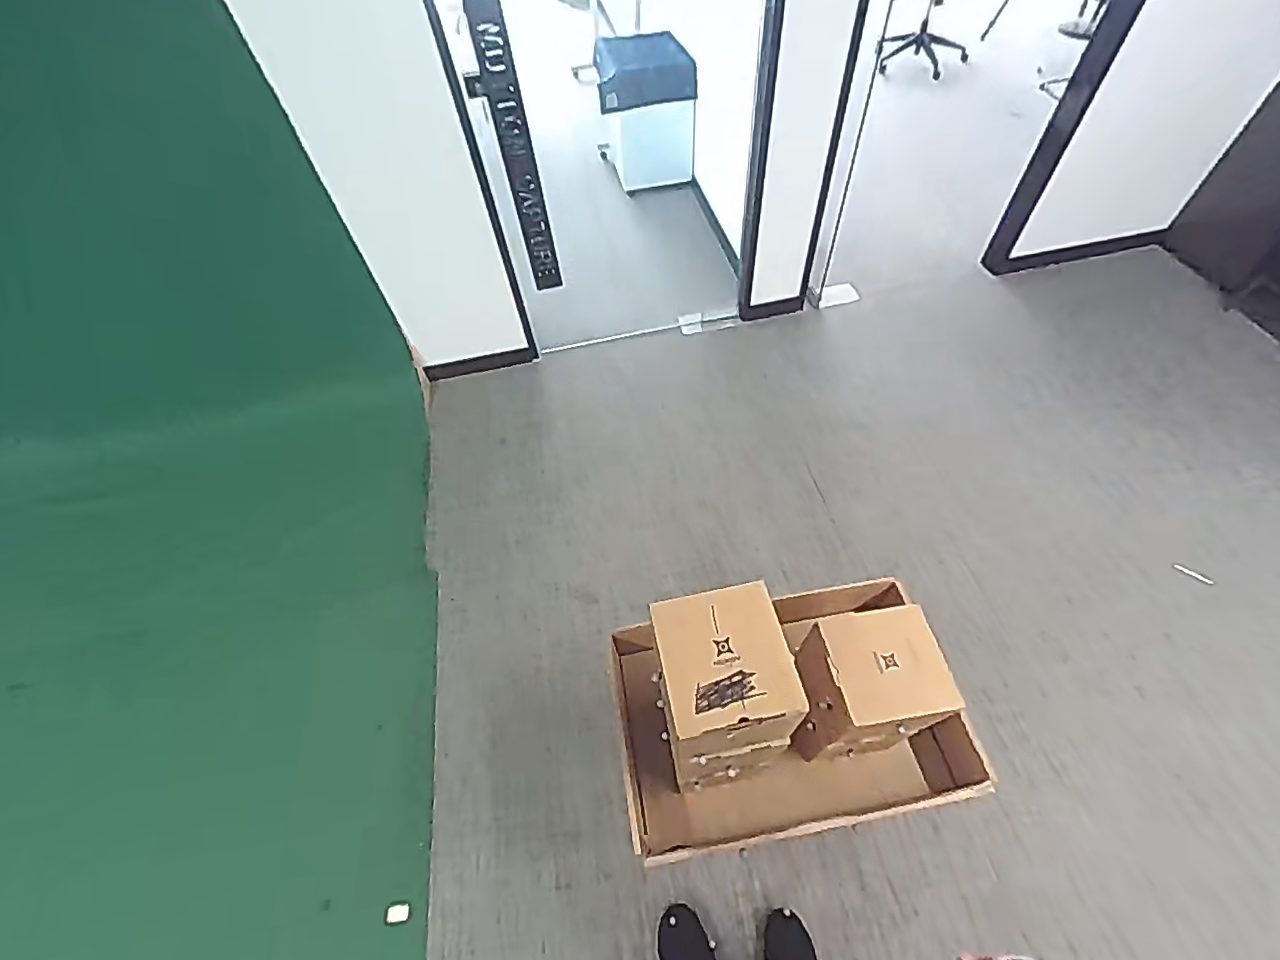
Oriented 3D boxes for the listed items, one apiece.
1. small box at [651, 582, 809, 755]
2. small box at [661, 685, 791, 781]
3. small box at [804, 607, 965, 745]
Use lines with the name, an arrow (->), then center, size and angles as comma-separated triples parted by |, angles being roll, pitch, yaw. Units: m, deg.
small box -> 0.114, 0.269, 0.750 | 0.168, 0.176, 0.179 | -10, 54, -4
small box -> 0.126, 0.369, 0.880 | 0.168, 0.176, 0.179 | -9, 54, -3
small box -> 0.385, 0.329, 0.895 | 0.179, 0.176, 0.168 | -8, 56, -3
